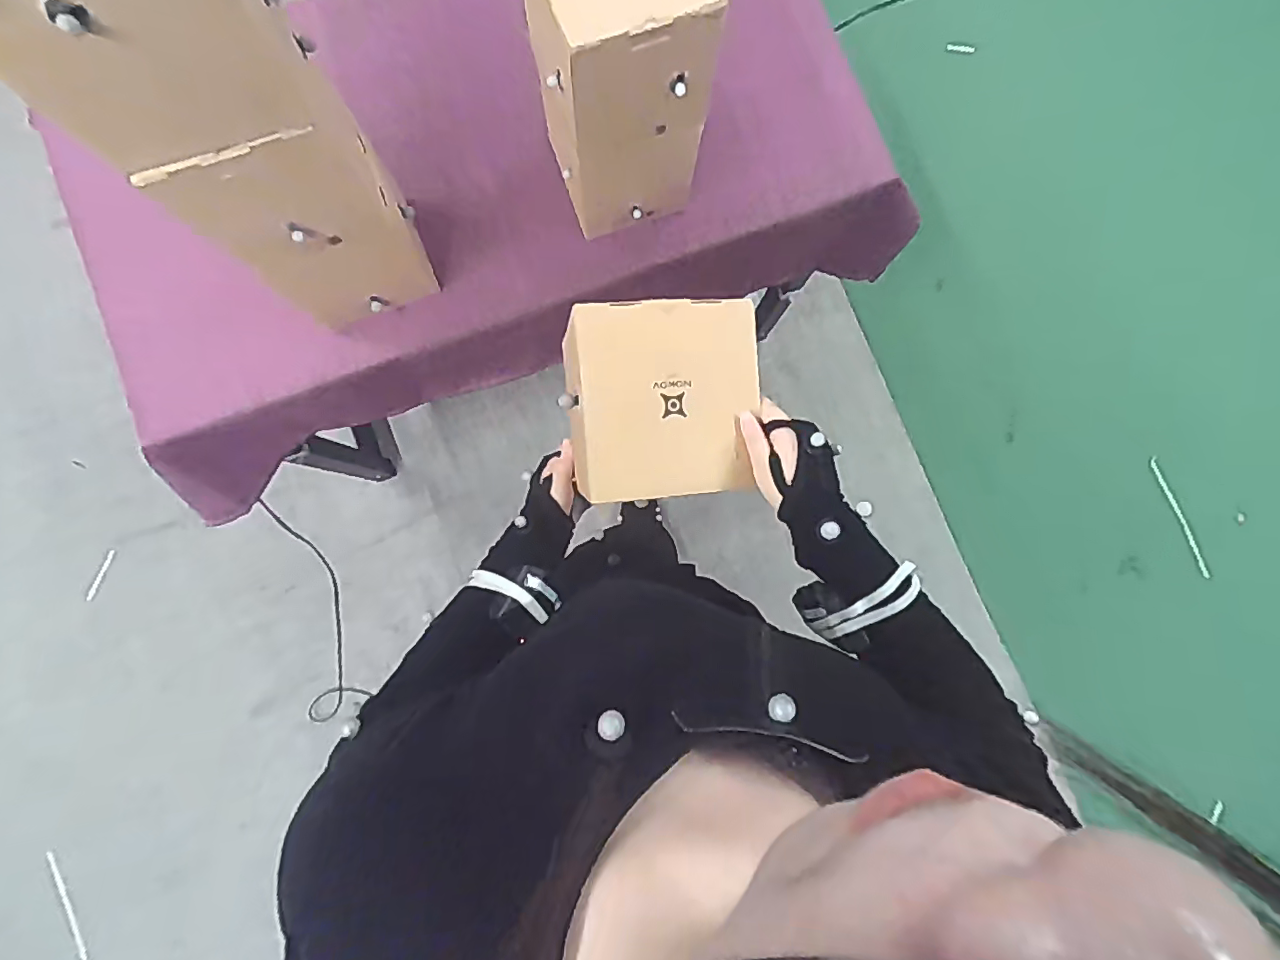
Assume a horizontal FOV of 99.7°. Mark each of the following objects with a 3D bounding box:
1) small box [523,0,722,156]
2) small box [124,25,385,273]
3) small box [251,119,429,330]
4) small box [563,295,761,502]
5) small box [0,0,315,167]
[{"bbox_3d":[-0.027,-0.497,0.598,0.168,0.176,0.179,-21,85,-5],"label":"small box"},{"bbox_3d":[-0.401,-0.353,0.565,0.168,0.176,0.179,-21,85,-4],"label":"small box"},{"bbox_3d":[-0.407,-0.330,0.728,0.179,0.176,0.168,-23,85,-5],"label":"small box"},{"bbox_3d":[0.012,-0.080,0.563,0.168,0.176,0.179,-7,94,-11],"label":"small box"},{"bbox_3d":[-0.389,-0.373,0.402,0.179,0.176,0.168,-20,85,-5],"label":"small box"}]
